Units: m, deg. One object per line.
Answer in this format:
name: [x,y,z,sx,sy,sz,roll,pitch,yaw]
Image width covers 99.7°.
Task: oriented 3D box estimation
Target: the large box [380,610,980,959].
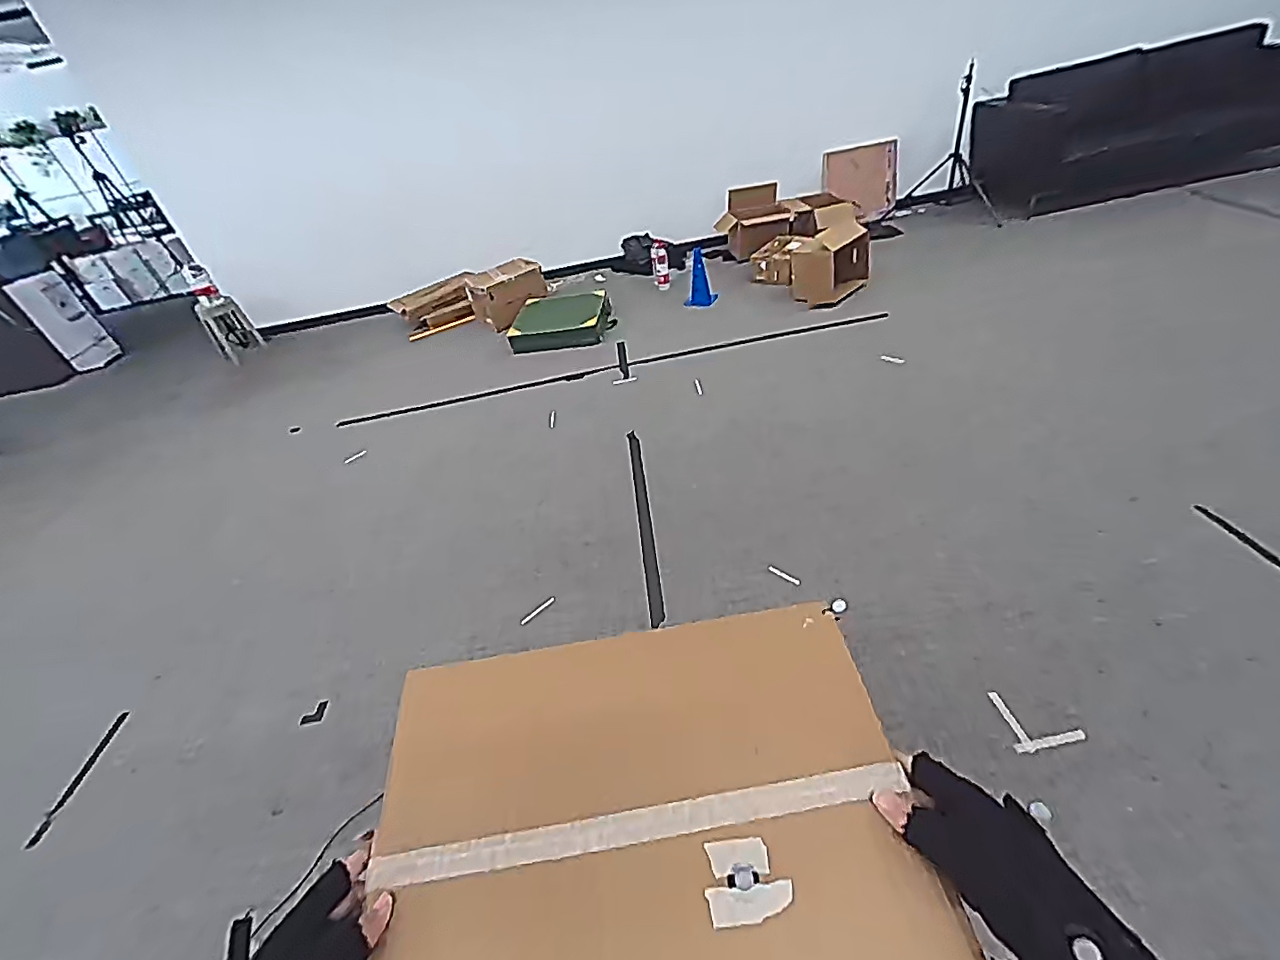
large box: [0.020,0.371,0.521,0.408,0.320,0.320,-9,46,-2]
